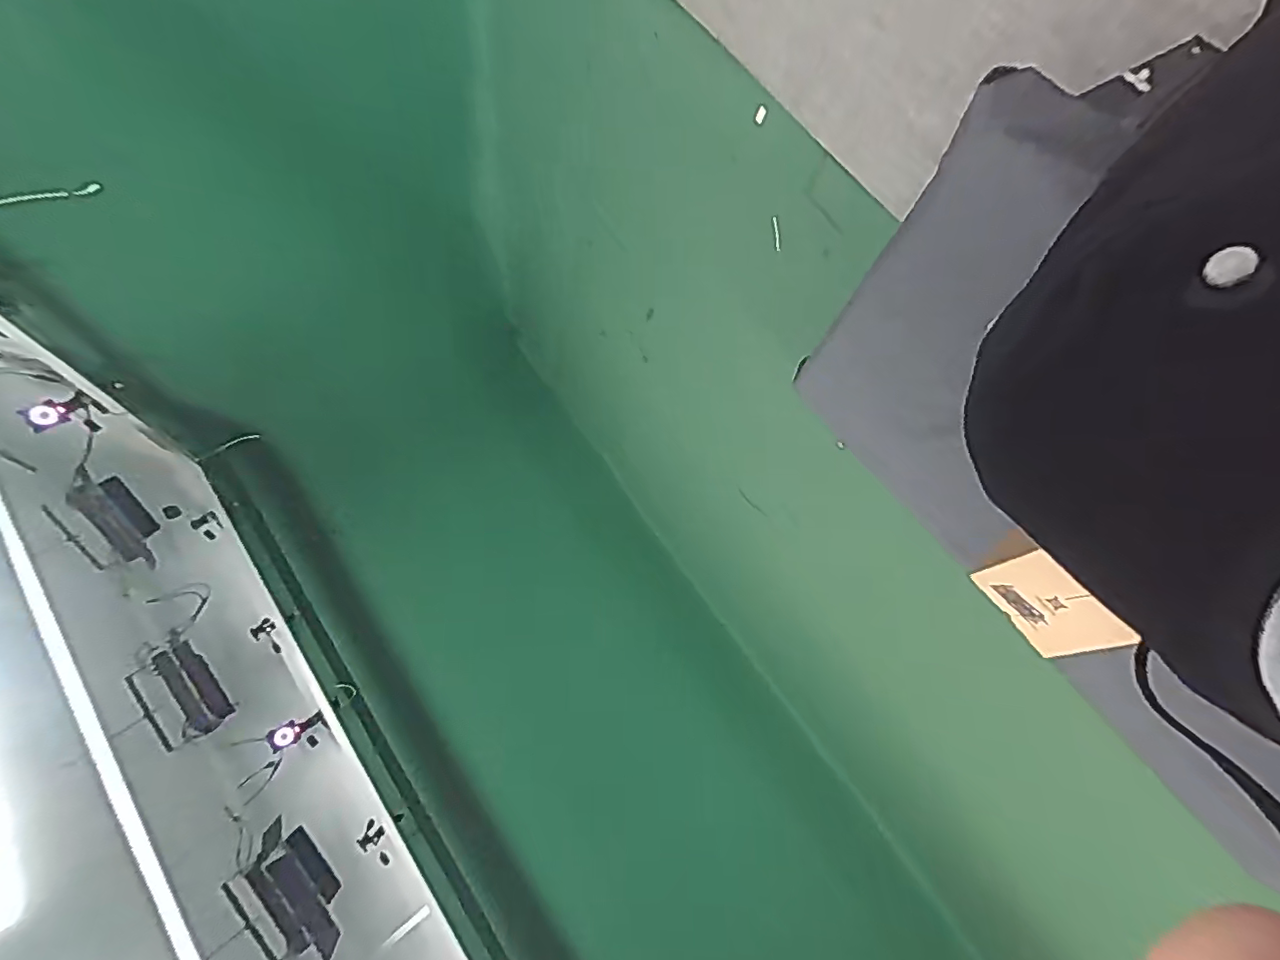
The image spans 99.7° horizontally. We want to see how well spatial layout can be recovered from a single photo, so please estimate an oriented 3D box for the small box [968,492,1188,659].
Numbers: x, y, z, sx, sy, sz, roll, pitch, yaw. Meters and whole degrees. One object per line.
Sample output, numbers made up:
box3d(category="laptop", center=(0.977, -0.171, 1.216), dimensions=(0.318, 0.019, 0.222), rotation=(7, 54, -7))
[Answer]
box3d(category="small box", center=(0.672, 0.149, 0.838), dimensions=(0.168, 0.176, 0.179), rotation=(51, 155, 14))
